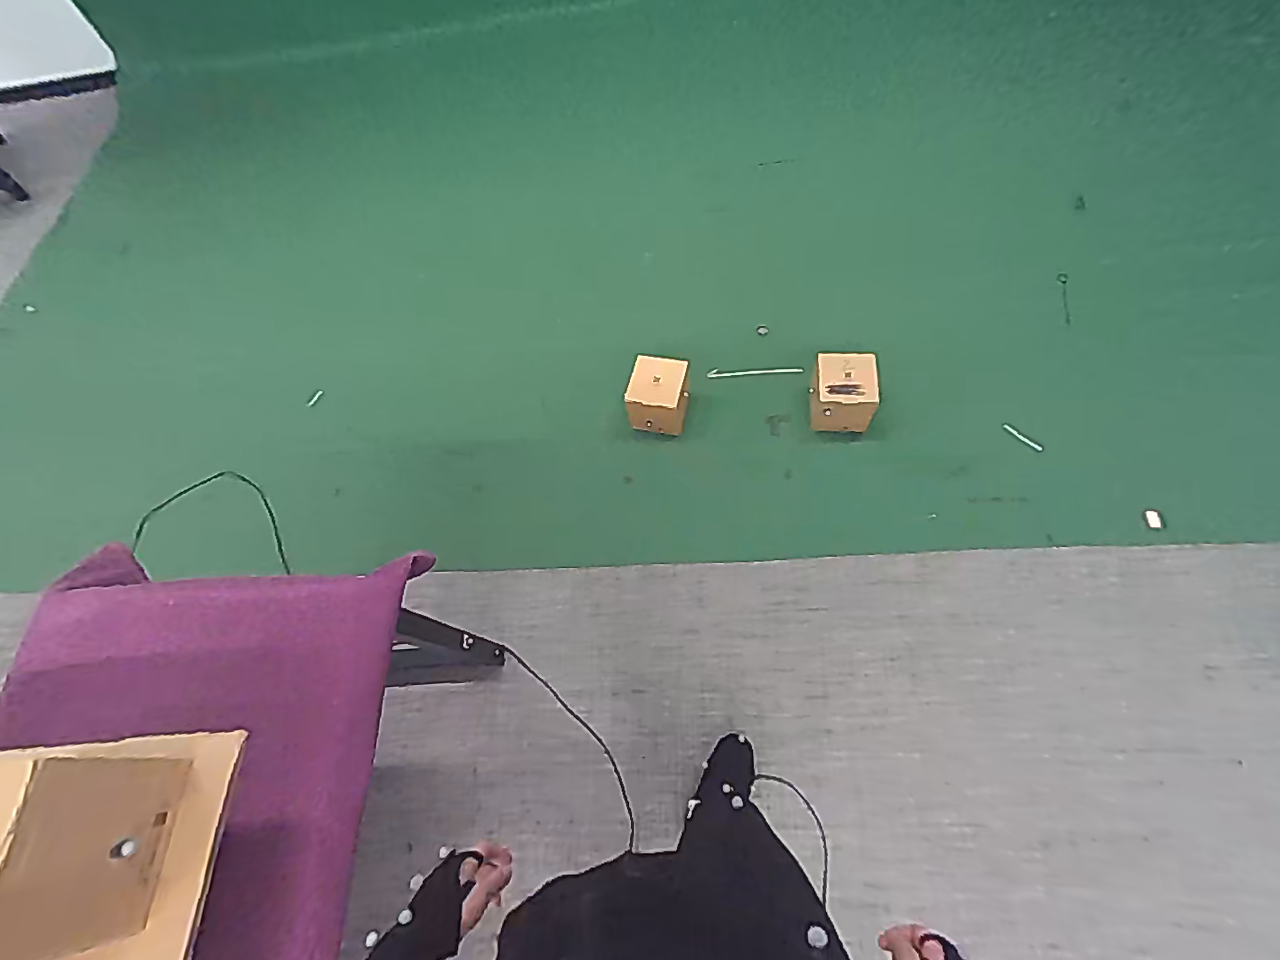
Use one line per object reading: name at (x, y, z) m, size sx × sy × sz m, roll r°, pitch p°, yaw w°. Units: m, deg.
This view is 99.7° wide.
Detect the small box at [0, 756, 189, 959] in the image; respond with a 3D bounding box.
small box at (-0.618, 0.371, 0.536) m, size 0.179 × 0.176 × 0.168 m, roll -6°, pitch 62°, yaw 4°

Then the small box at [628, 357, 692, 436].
small box at (0.069, -0.267, 1.735) m, size 0.168 × 0.176 × 0.179 m, roll 11°, pitch 68°, yaw 13°
